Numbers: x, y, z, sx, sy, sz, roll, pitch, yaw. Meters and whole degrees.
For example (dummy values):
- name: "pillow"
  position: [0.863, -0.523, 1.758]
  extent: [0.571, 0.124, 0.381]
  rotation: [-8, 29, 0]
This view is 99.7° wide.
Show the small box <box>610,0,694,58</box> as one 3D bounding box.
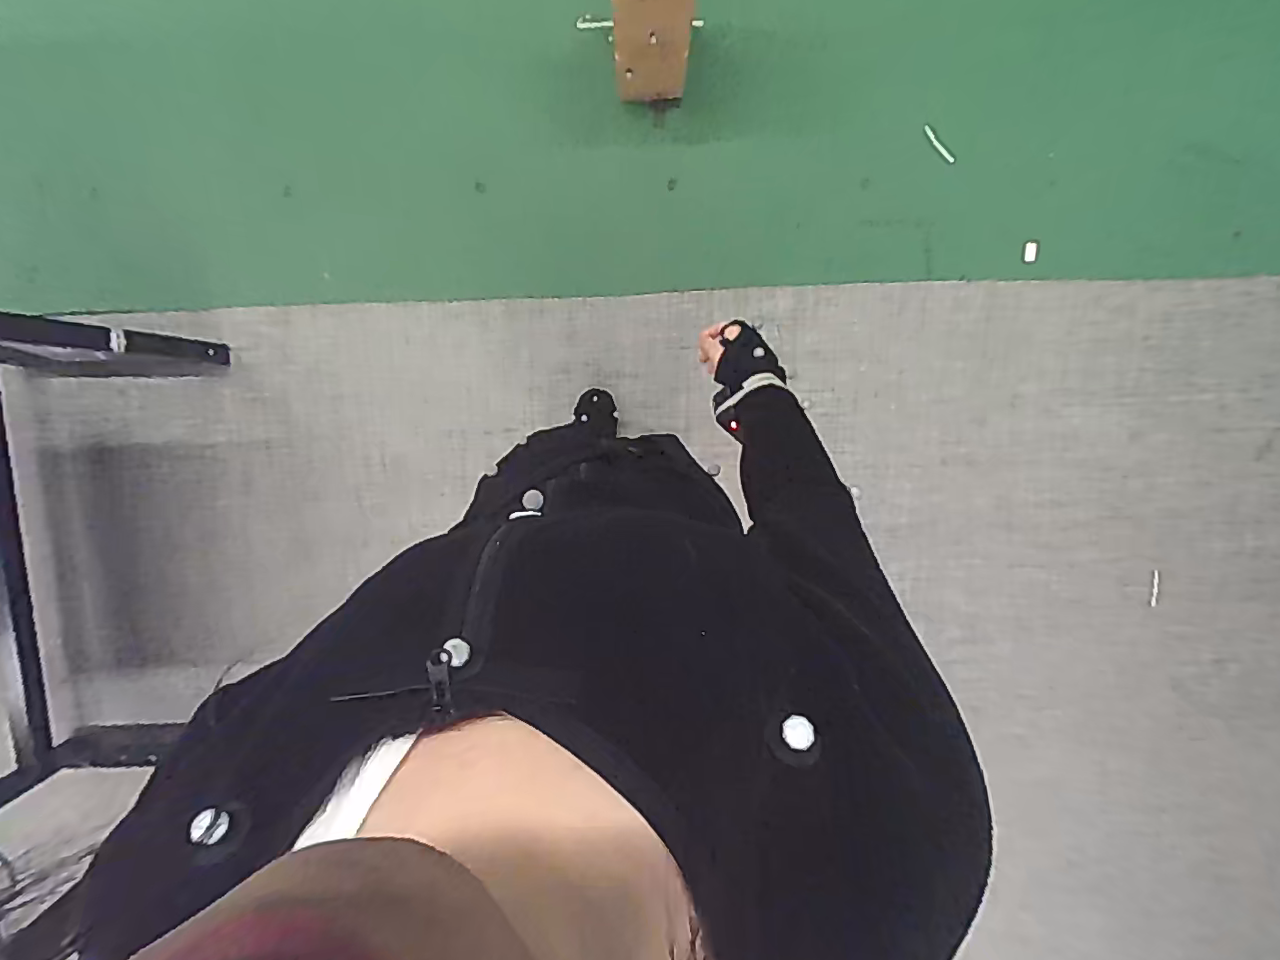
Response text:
- name: "small box"
  position: [0.018, -1.028, 1.122]
  extent: [0.168, 0.176, 0.179]
  rotation: [-5, 97, 0]
